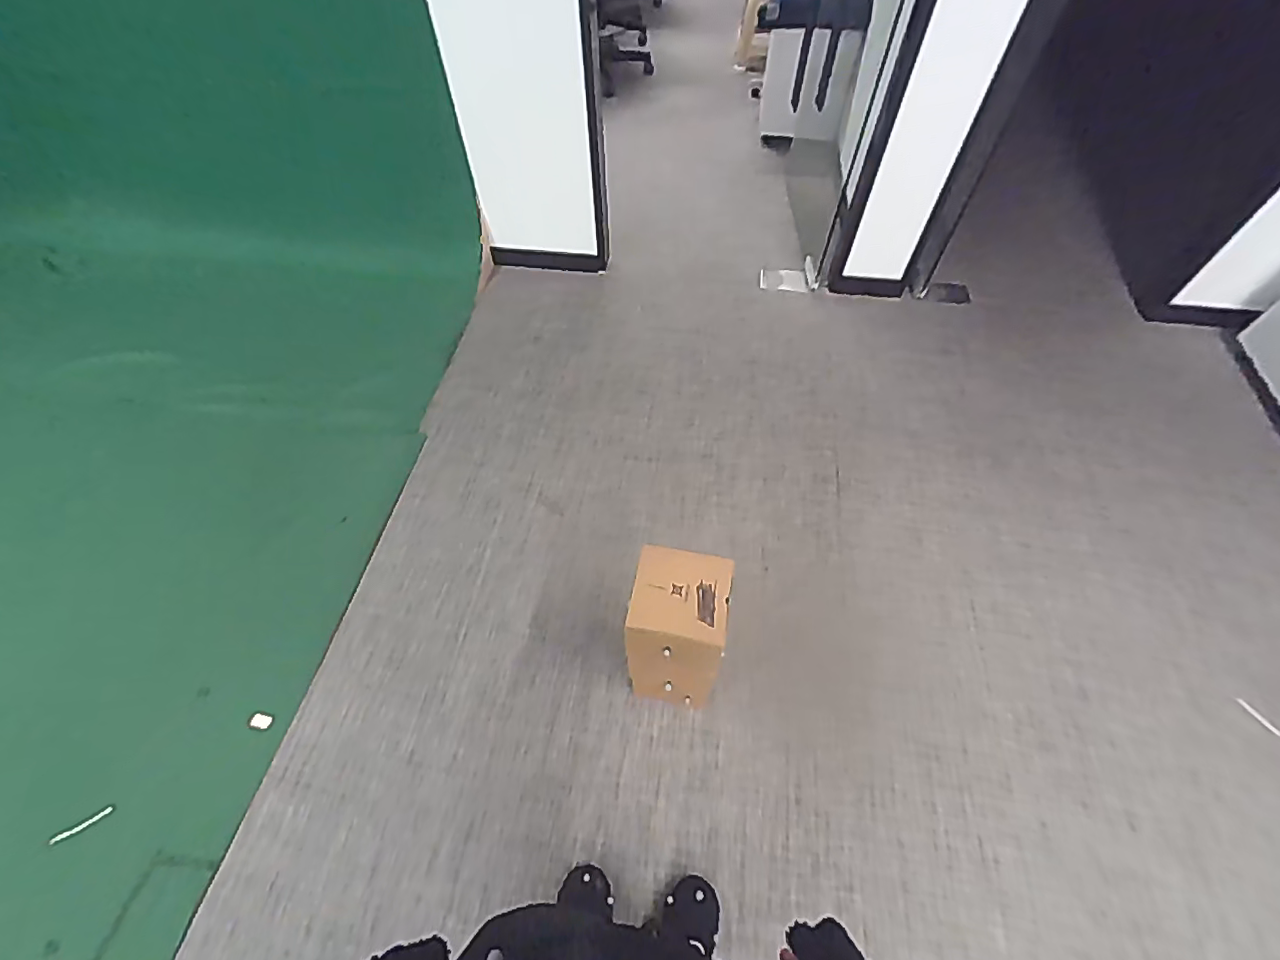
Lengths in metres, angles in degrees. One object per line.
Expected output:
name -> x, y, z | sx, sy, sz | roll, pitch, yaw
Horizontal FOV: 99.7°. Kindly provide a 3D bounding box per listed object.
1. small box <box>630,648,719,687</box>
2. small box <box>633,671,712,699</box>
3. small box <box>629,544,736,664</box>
small box -> 0.083, 0.336, 1.173 | 0.179, 0.176, 0.168 | 12, 57, 8
small box -> 0.086, 0.422, 1.312 | 0.179, 0.176, 0.168 | 7, 56, 7
small box -> 0.078, 0.243, 1.037 | 0.179, 0.176, 0.168 | 8, 57, 5
